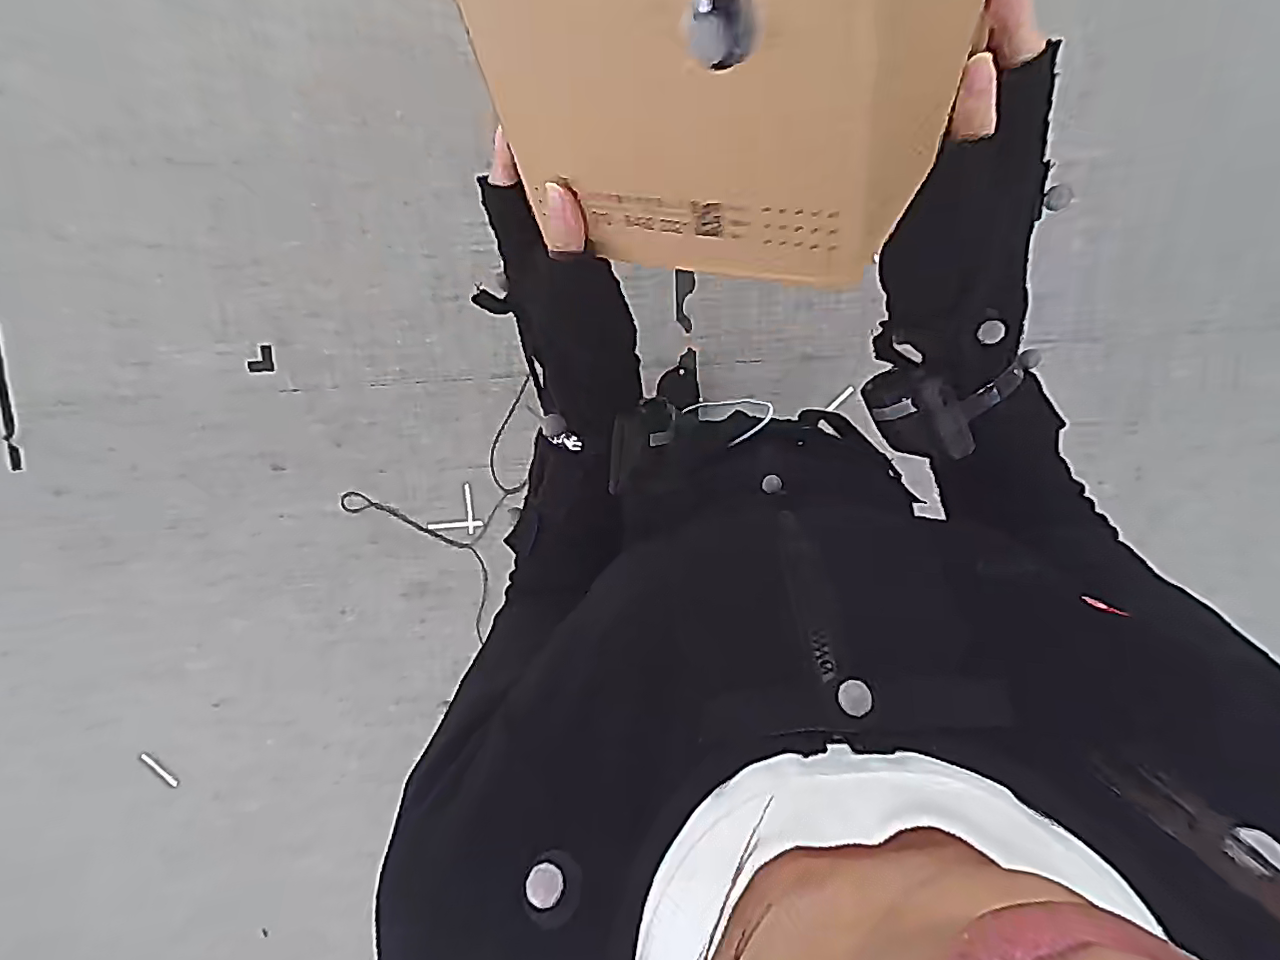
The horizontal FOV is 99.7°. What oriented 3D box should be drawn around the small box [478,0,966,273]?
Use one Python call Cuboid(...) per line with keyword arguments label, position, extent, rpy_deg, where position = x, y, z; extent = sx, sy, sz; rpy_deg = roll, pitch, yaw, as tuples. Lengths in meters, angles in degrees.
Cuboid(label="small box", position=(0.046, -0.218, 0.245), extent=(0.168, 0.176, 0.179), rpy_deg=(20, 59, 28))
